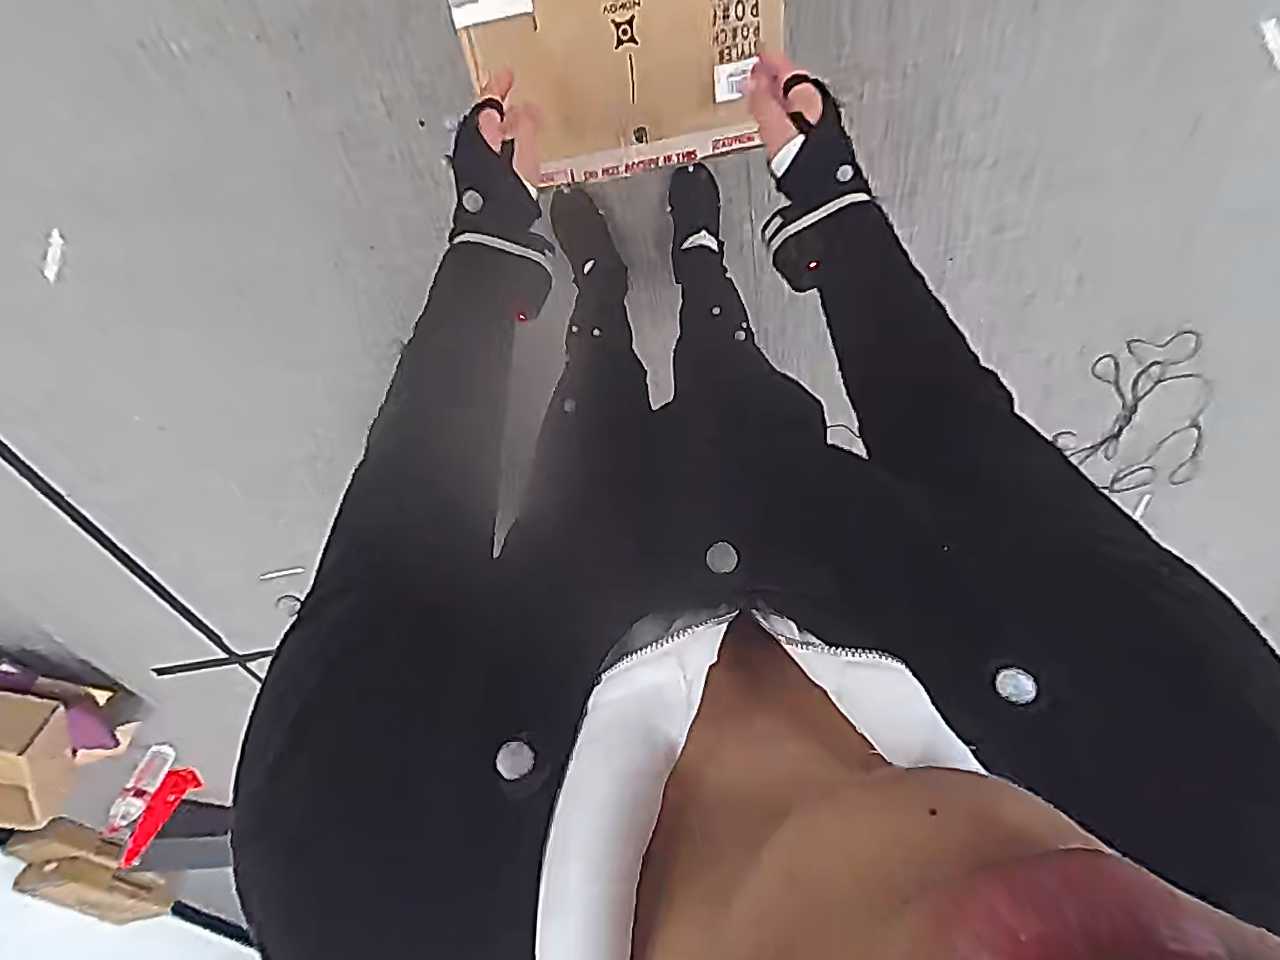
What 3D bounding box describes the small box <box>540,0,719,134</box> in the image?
[{"bbox_3d":[-0.016,-0.490,0.568,0.168,0.176,0.179,-9,131,3],"label":"small box"}]
